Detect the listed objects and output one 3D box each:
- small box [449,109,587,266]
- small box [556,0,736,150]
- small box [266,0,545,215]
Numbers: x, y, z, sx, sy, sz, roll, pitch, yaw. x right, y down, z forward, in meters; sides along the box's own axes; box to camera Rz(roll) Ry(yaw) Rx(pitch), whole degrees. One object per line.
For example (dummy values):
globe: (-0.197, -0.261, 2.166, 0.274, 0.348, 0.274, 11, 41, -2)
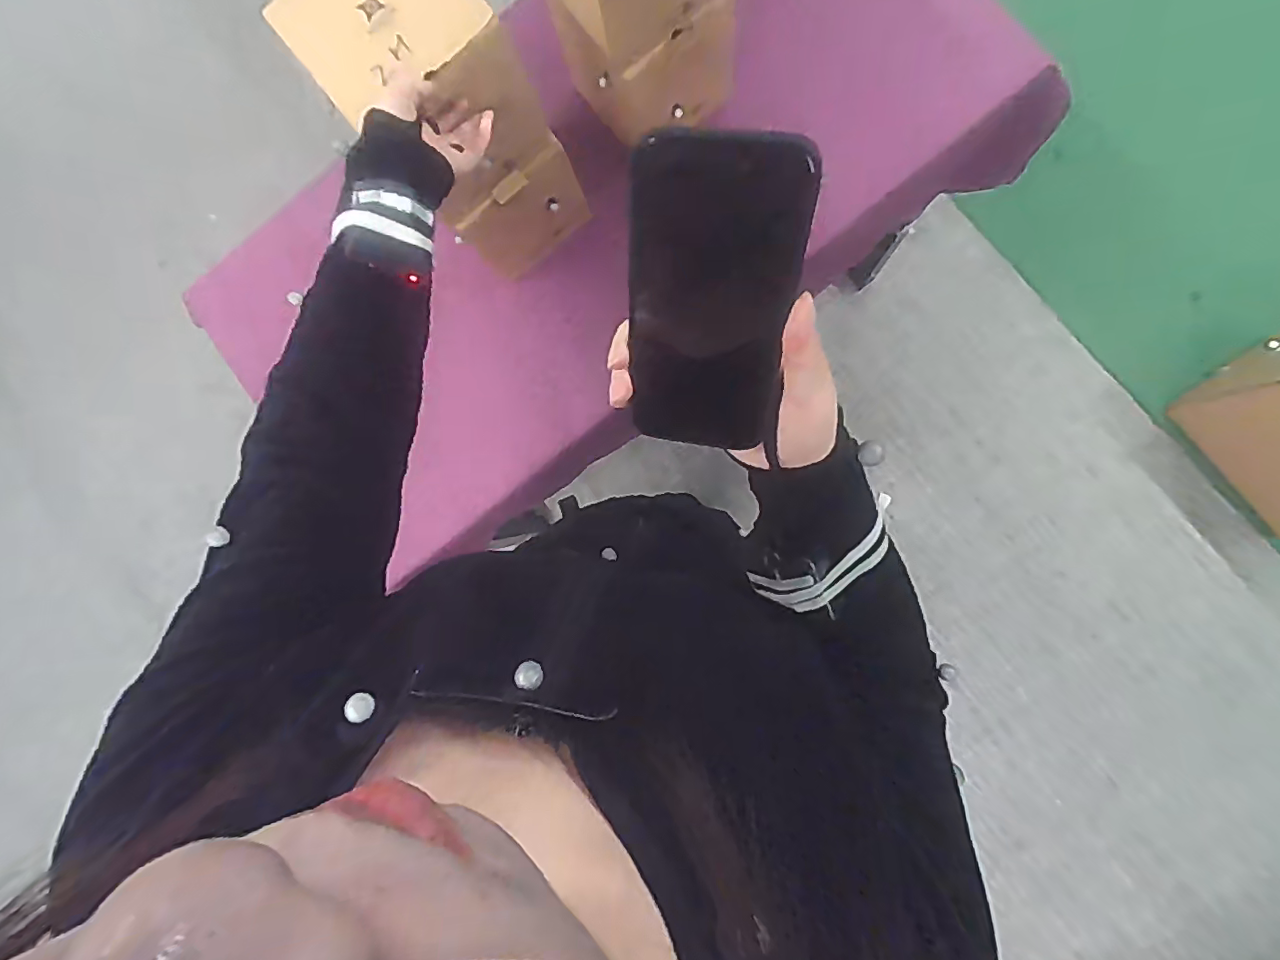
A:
small box: (-0.196, -0.422, 0.738, 0.168, 0.176, 0.179, -38, 84, 4)
small box: (0.006, -0.593, 0.717, 0.168, 0.176, 0.179, -39, 85, 5)
small box: (-0.231, -0.430, 0.576, 0.168, 0.176, 0.179, -39, 84, 4)
